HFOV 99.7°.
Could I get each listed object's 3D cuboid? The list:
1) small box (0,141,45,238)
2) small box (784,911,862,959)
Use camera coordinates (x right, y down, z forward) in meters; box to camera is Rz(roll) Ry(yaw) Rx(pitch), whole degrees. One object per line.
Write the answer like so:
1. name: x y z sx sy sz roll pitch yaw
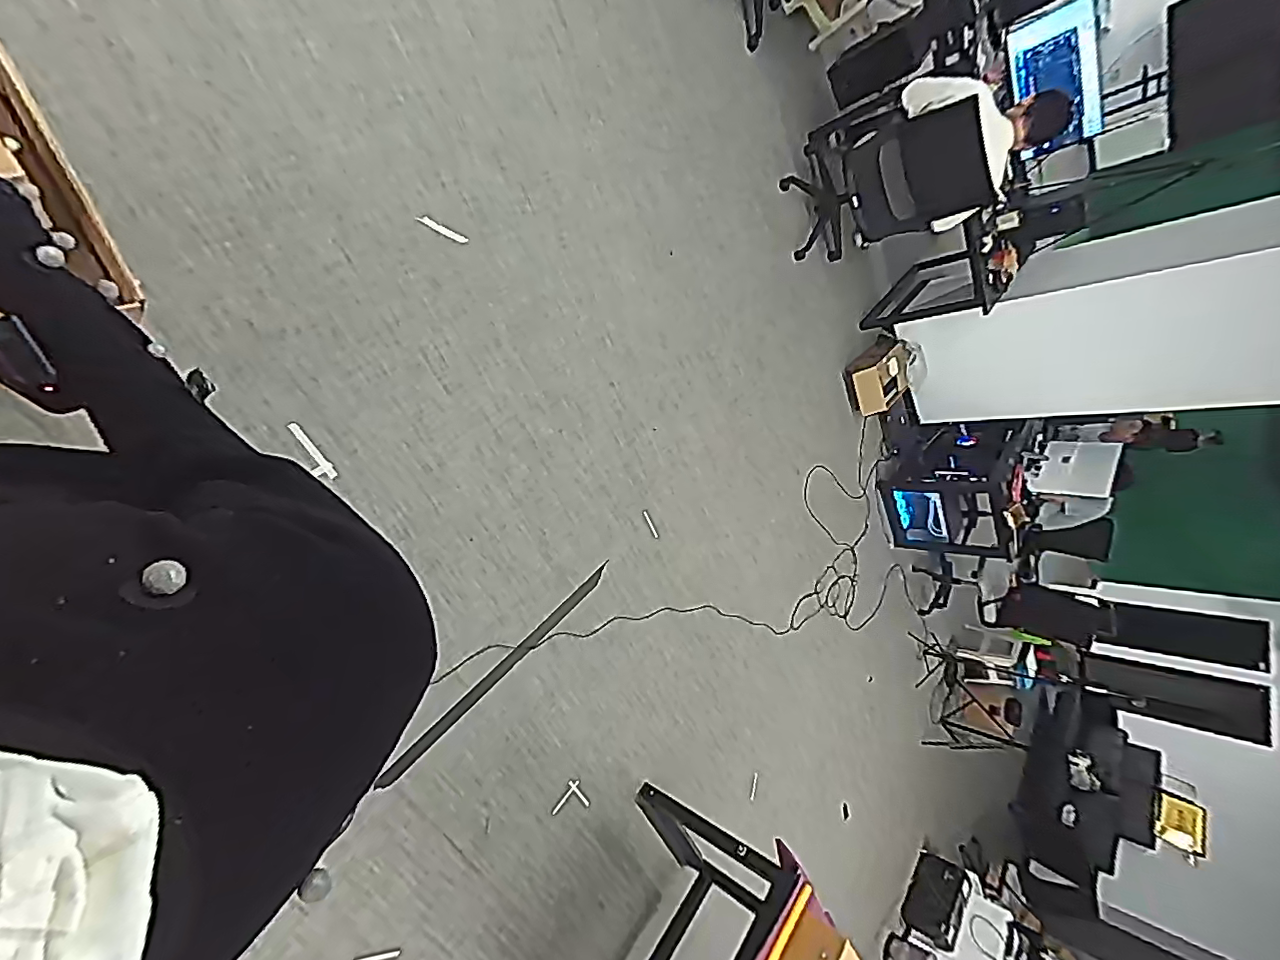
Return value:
1. small box: -0.832 -0.369 0.599 0.179 0.176 0.168 -35 113 -35
2. small box: 0.565 1.502 1.670 0.179 0.176 0.168 -43 118 -31
